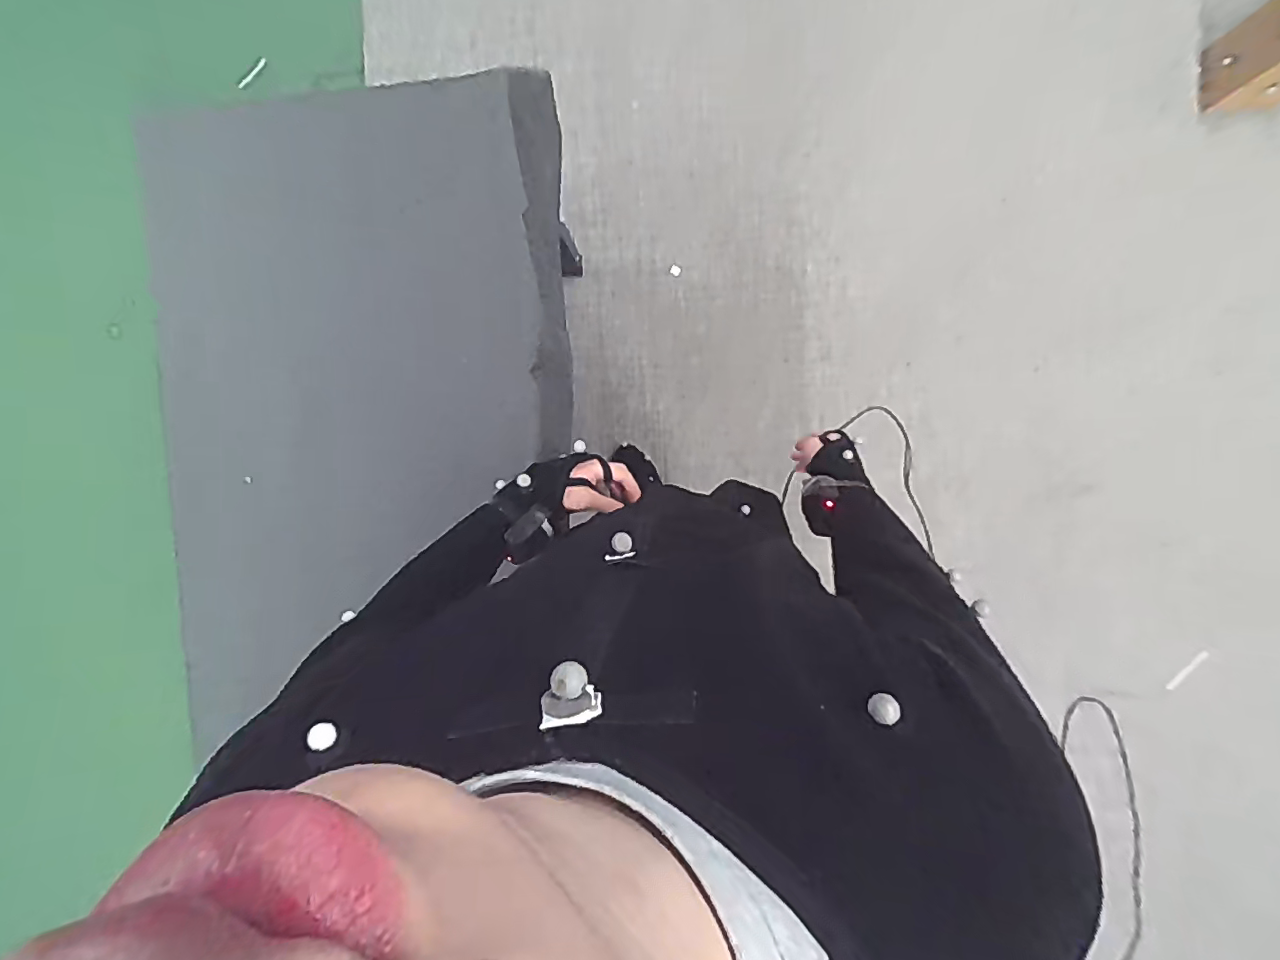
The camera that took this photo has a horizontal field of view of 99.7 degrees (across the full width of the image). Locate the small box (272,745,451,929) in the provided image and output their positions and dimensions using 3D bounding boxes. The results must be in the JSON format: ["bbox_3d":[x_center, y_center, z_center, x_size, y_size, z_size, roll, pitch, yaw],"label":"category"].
[{"bbox_3d":[-0.403,0.518,0.807,0.179,0.176,0.168,-2,92,4],"label":"small box"}]

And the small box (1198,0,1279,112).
[{"bbox_3d":[1.532,-1.037,1.324,0.179,0.176,0.168,-1,93,5],"label":"small box"}]

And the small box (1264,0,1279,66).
[{"bbox_3d":[1.519,-1.030,1.162,0.179,0.176,0.168,-1,93,3],"label":"small box"}]
